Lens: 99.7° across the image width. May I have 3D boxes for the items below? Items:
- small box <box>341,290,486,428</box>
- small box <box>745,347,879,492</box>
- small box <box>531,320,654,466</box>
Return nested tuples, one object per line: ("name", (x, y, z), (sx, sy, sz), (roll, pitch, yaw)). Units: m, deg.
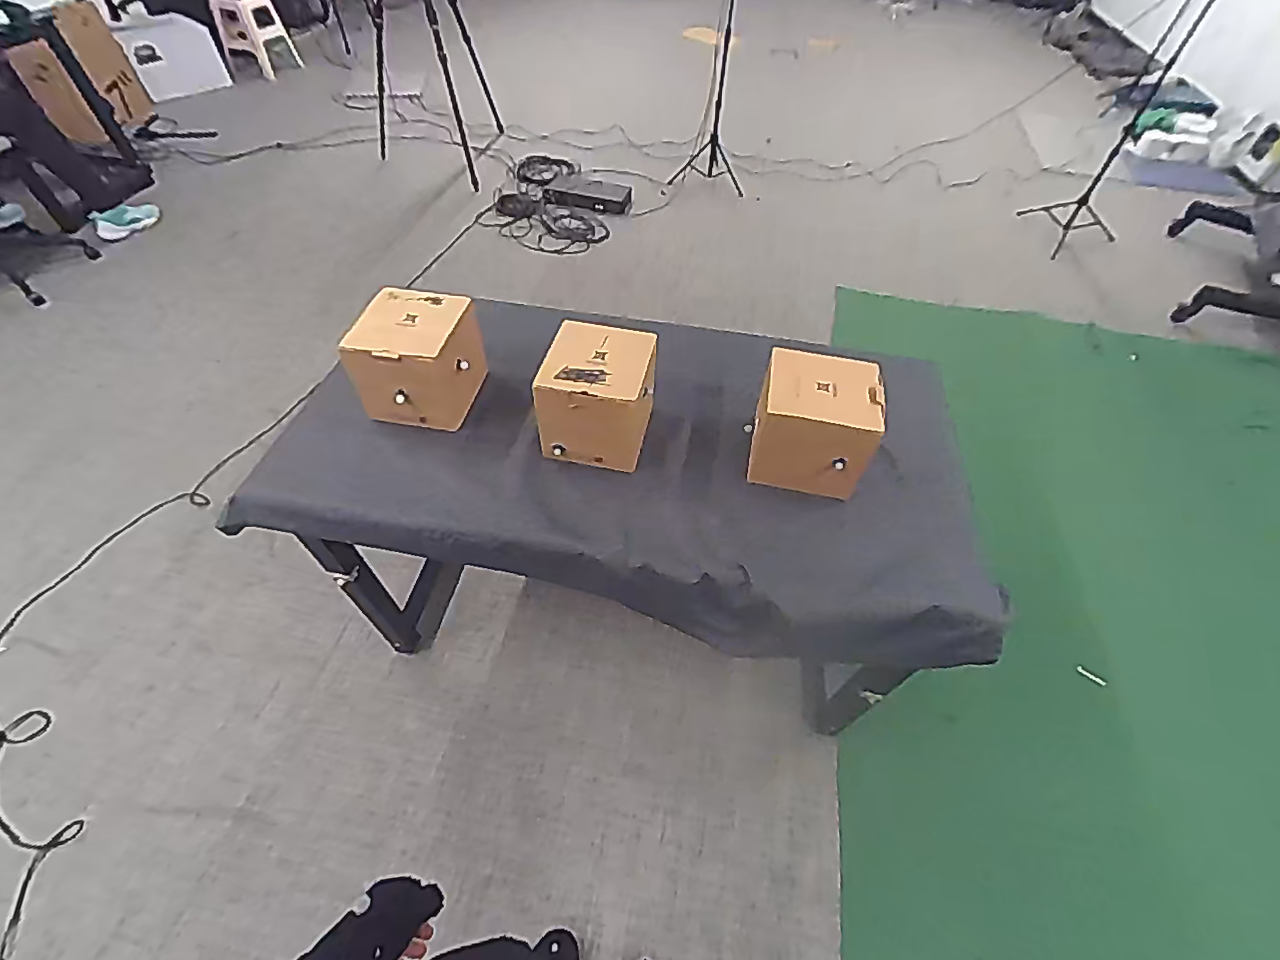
("small box", (-0.395, -0.216, 0.983), (0.168, 0.176, 0.179), (8, 53, 4))
("small box", (0.283, -0.098, 0.915), (0.179, 0.176, 0.168), (9, 51, 7))
("small box", (-0.074, -0.147, 0.939), (0.168, 0.176, 0.179), (10, 51, 6))
